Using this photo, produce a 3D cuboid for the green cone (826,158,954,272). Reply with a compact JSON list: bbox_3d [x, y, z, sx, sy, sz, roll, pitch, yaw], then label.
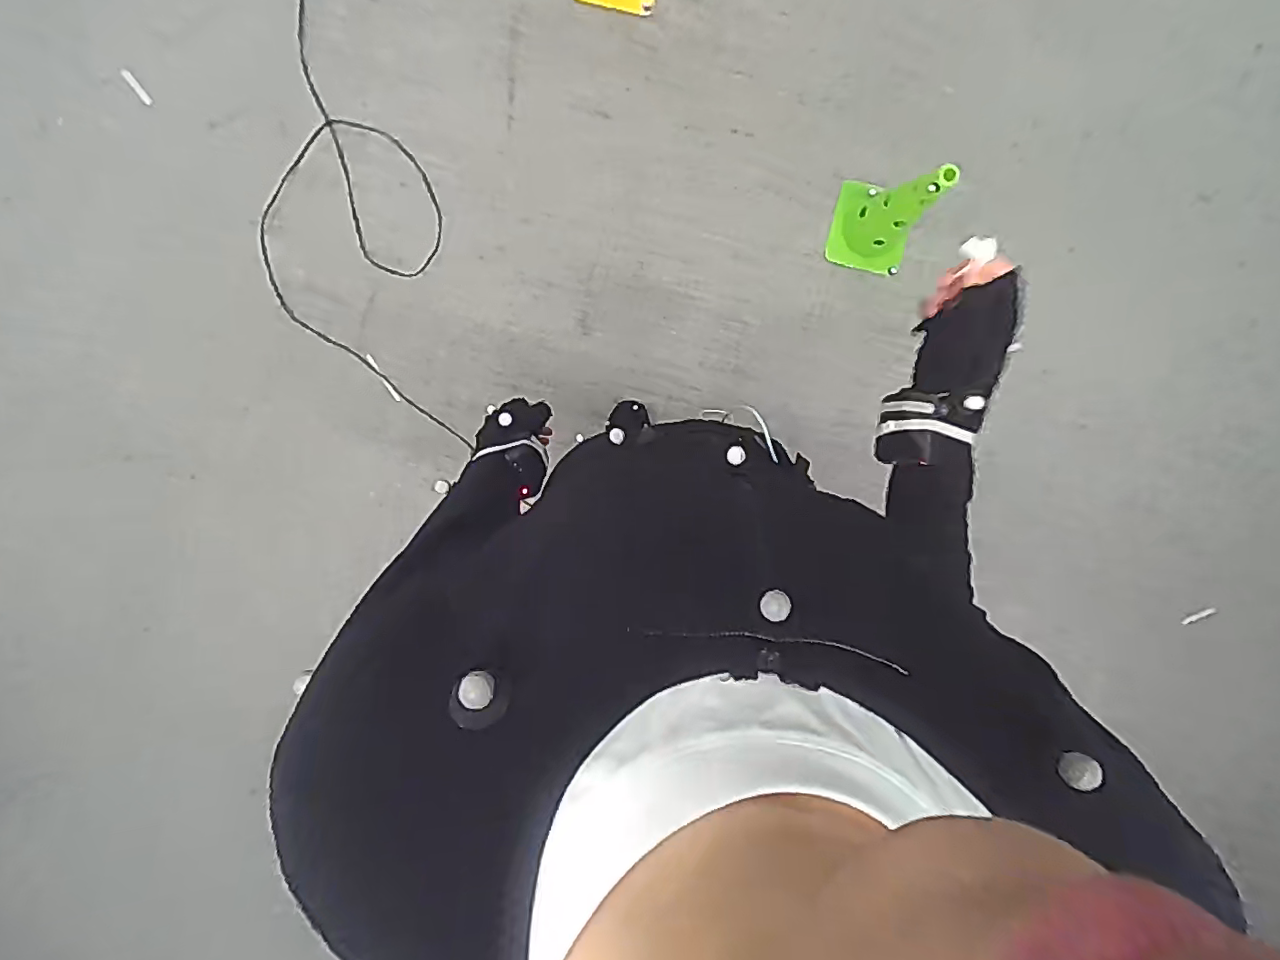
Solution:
[{"bbox_3d":[0.589,-0.625,1.210,0.202,0.368,0.200,12,98,-1],"label":"green cone"}]
